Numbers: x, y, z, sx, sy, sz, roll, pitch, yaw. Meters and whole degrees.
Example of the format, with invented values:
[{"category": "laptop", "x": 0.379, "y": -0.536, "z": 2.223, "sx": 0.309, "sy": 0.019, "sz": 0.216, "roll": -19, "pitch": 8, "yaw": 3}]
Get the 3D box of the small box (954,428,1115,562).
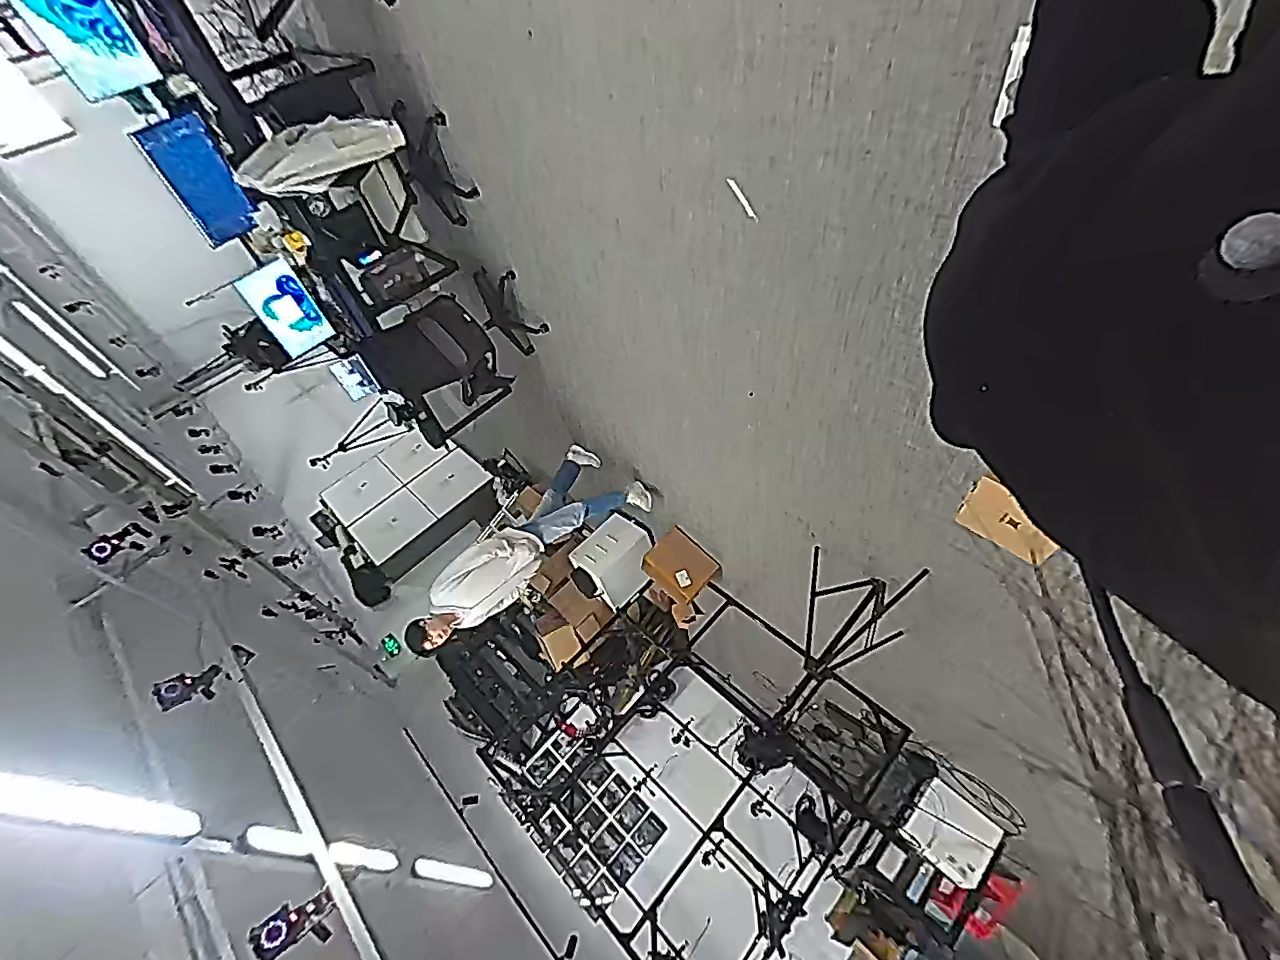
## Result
[{"category": "small box", "x": 0.775, "y": 0.023, "z": 1.072, "sx": 0.179, "sy": 0.176, "sz": 0.168, "roll": 35, "pitch": 156, "yaw": 28}]
